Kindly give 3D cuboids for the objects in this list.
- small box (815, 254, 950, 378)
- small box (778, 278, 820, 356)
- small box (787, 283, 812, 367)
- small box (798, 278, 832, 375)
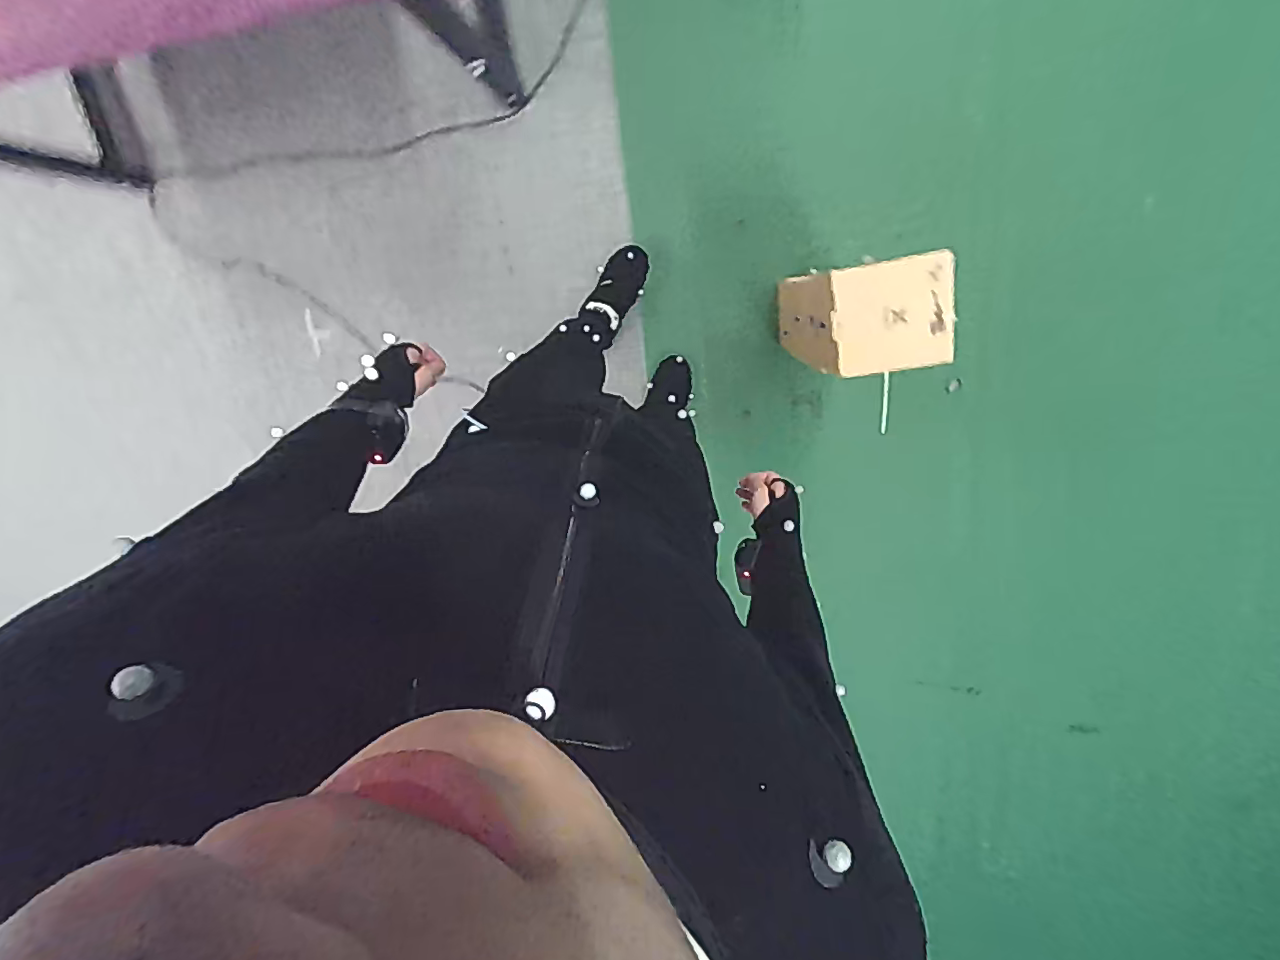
[{"bbox_3d":[0.396,-0.271,0.909,0.179,0.176,0.168,-6,107,10],"label":"small box"},{"bbox_3d":[0.445,-0.418,1.373,0.168,0.176,0.179,-4,107,8],"label":"small box"},{"bbox_3d":[0.431,-0.362,1.221,0.168,0.176,0.179,-7,106,9],"label":"small box"},{"bbox_3d":[0.414,-0.315,1.065,0.168,0.176,0.179,-8,107,10],"label":"small box"}]
